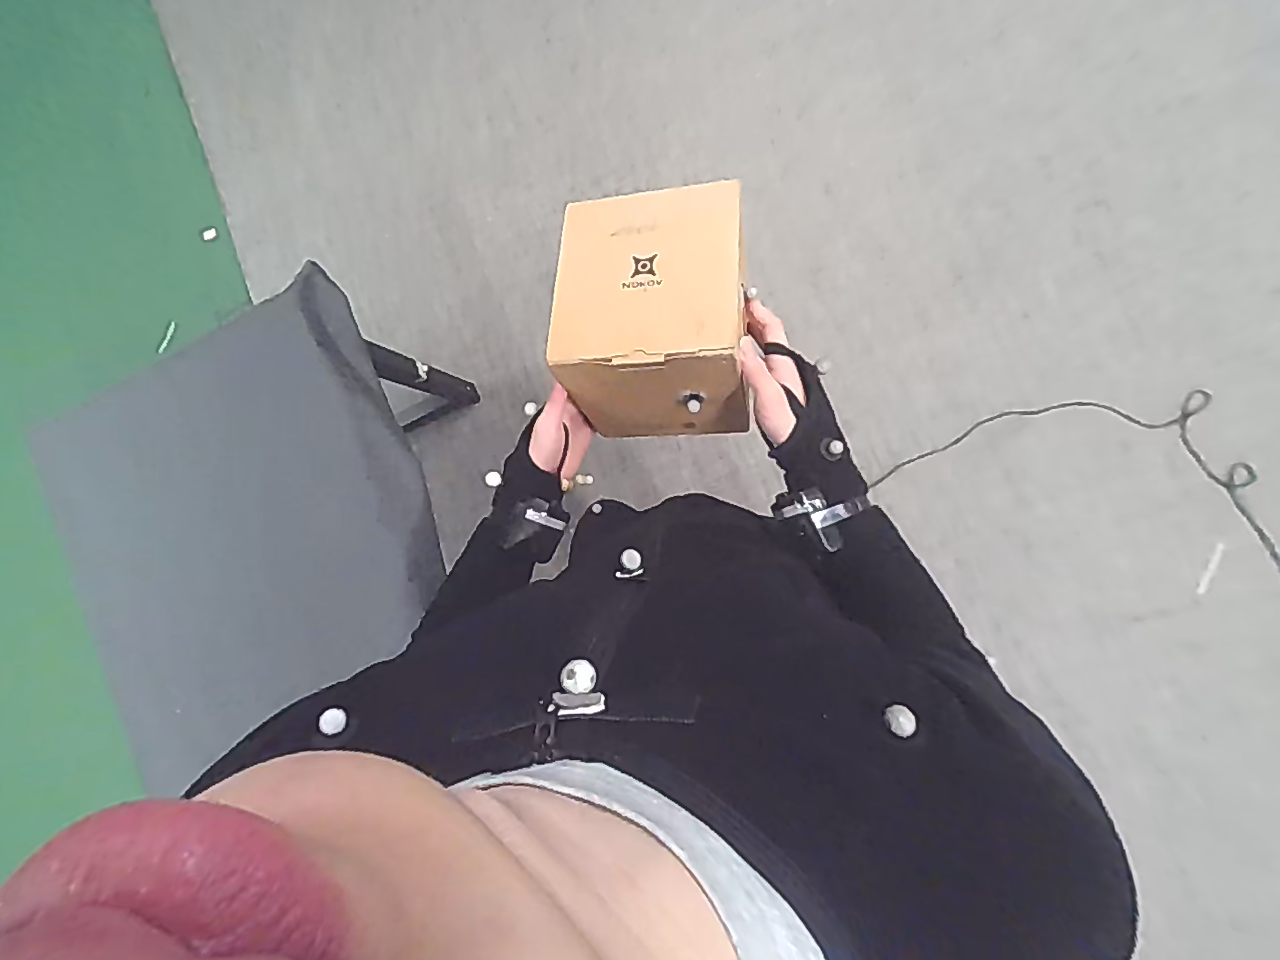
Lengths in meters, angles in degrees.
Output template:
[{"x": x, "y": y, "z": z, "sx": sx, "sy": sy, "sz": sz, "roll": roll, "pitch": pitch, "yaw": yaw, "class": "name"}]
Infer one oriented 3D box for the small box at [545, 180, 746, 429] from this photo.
[{"x": 0.020, "y": -0.158, "z": 0.544, "sx": 0.168, "sy": 0.176, "sz": 0.179, "roll": -1, "pitch": 71, "yaw": 13, "class": "small box"}]
